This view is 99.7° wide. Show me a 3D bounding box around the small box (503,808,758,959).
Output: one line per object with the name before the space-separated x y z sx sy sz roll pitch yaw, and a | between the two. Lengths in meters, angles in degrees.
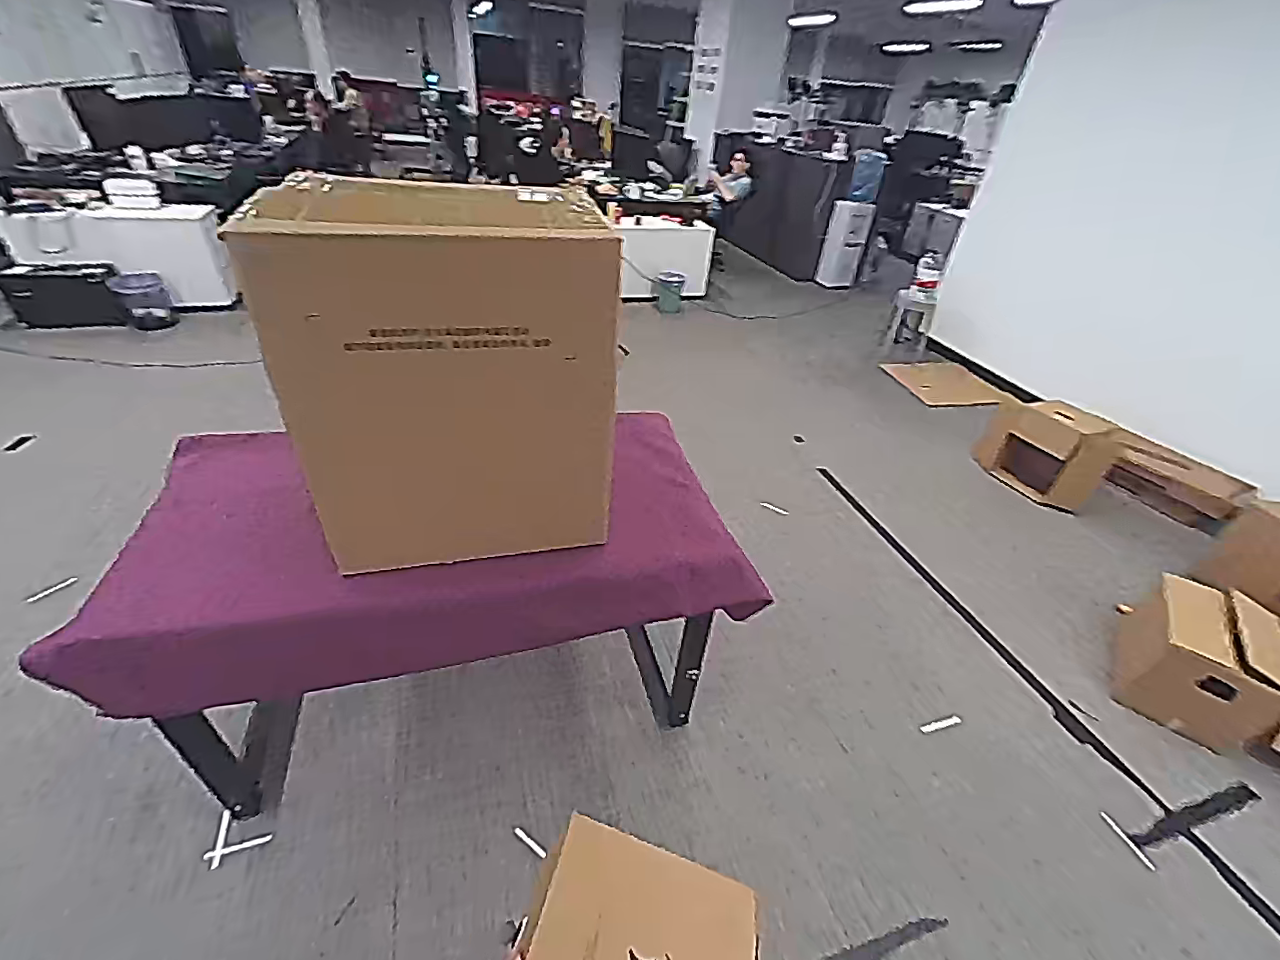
small box | -0.022 0.413 0.446 0.179 0.176 0.168 21 38 0
